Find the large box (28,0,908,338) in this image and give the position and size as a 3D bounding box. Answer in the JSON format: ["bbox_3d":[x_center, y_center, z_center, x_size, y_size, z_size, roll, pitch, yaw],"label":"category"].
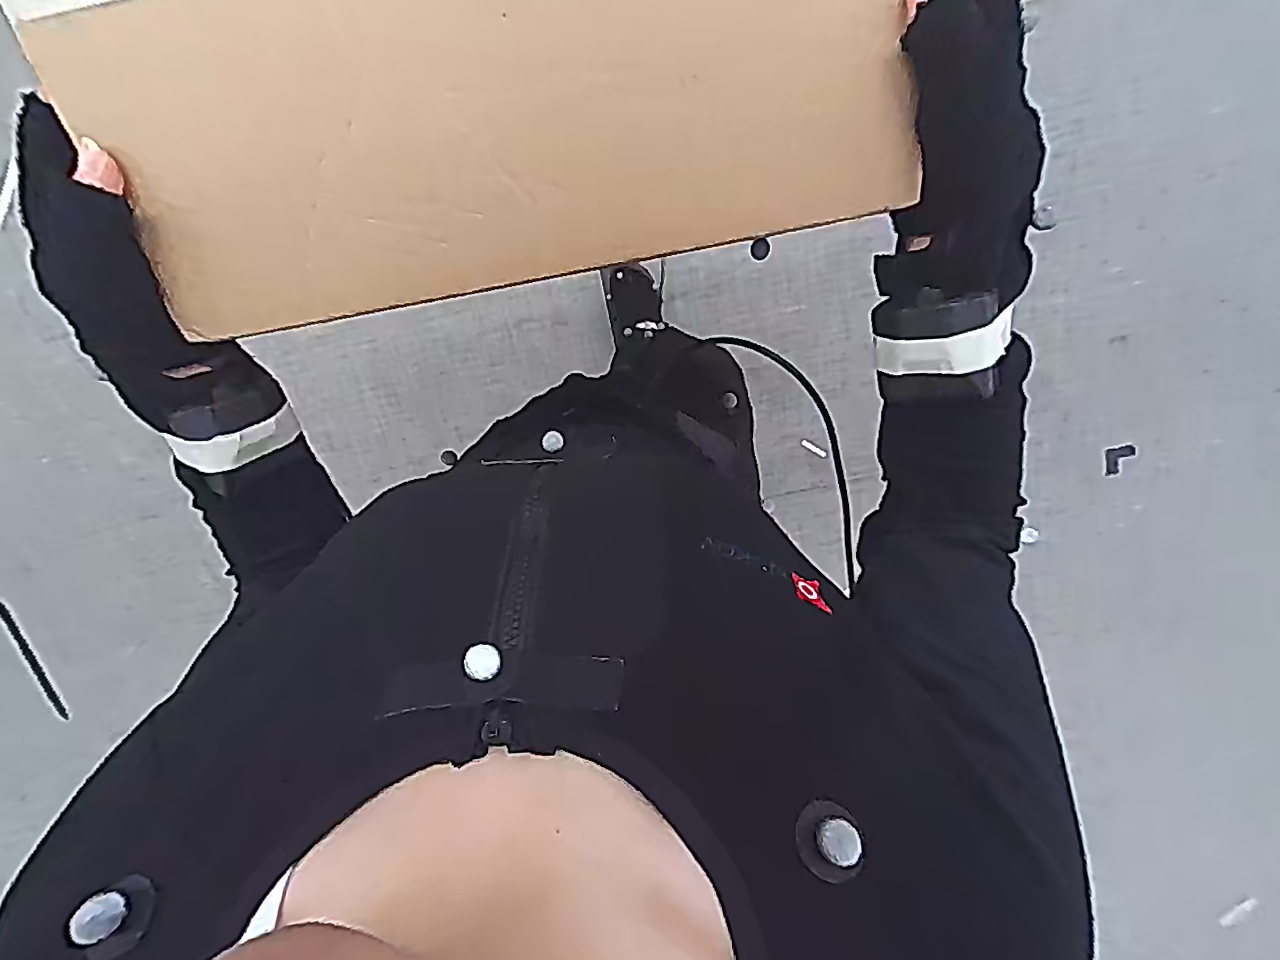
[{"bbox_3d":[-0.083,-0.318,0.365,0.408,0.320,0.320,-9,115,5],"label":"large box"}]
